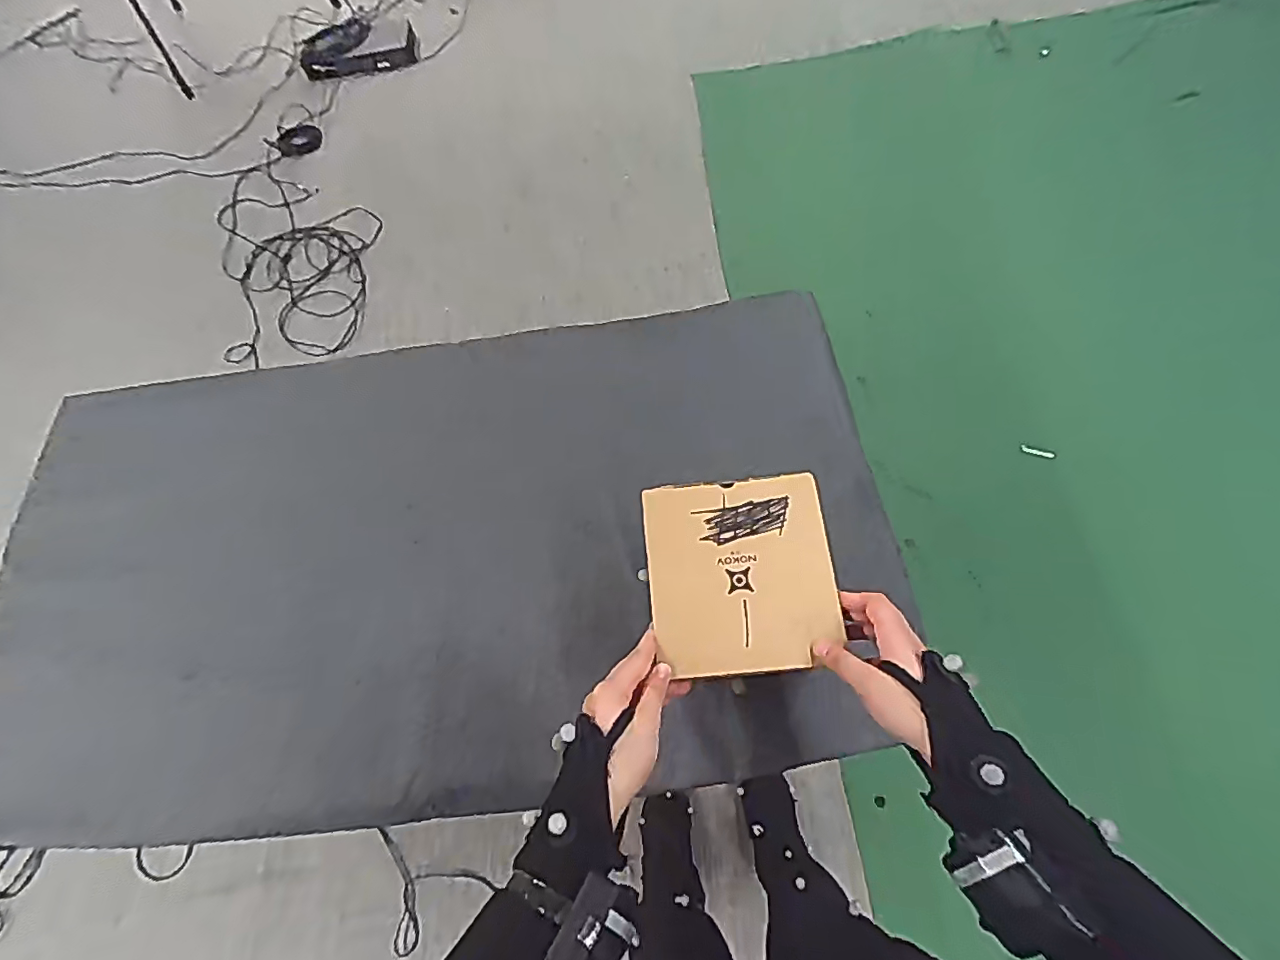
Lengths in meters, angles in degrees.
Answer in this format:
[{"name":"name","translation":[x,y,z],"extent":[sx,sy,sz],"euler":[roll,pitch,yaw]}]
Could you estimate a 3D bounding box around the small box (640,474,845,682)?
[{"name":"small box","translation":[0.091,0.110,0.556],"extent":[0.168,0.176,0.179],"euler":[-6,69,4]}]
